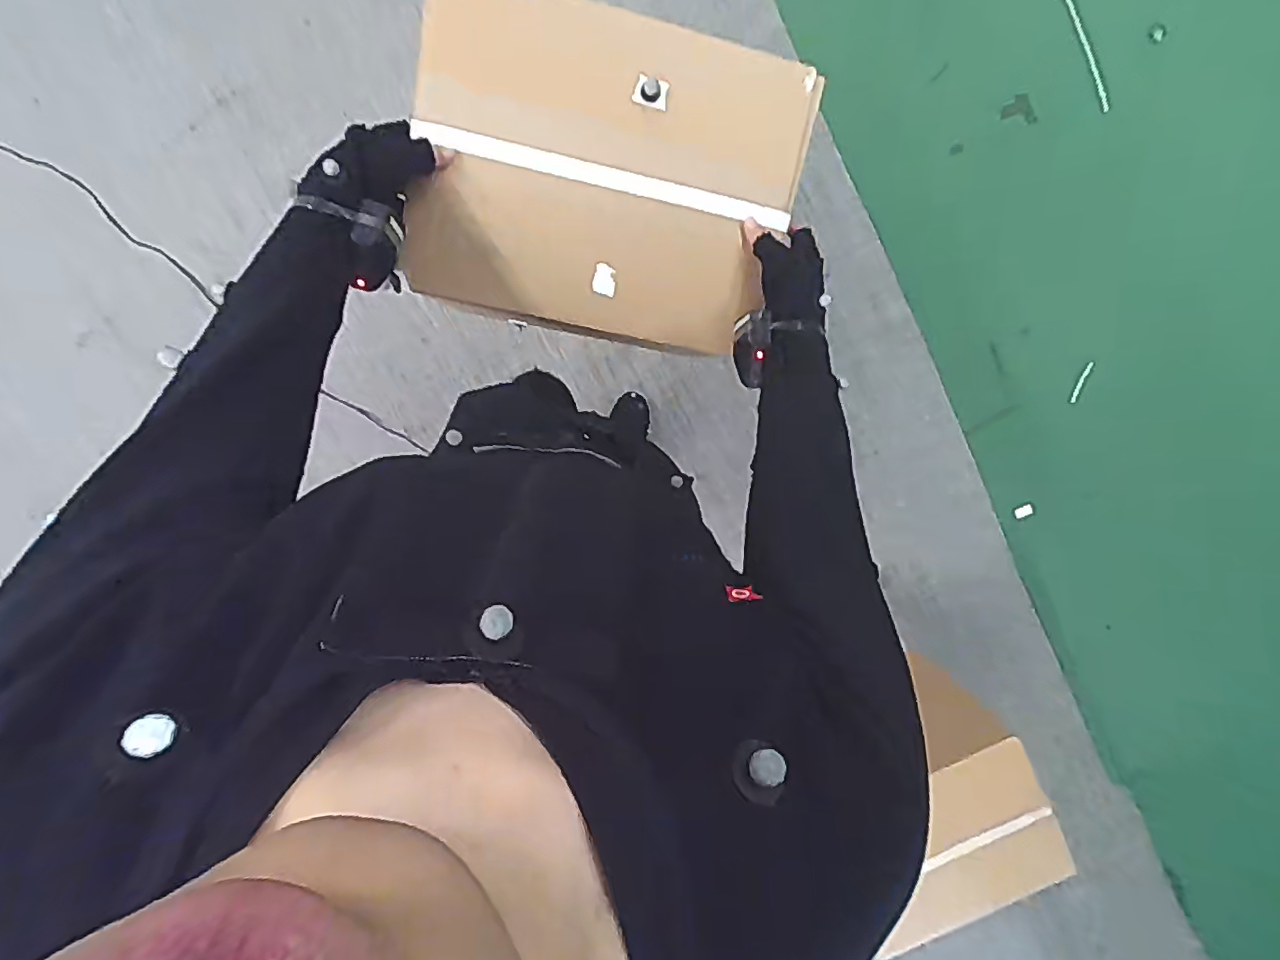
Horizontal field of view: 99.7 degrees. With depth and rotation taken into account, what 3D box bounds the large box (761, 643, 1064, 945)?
[{"bbox_3d":[0.521,0.609,1.103,0.408,0.320,0.320,-27,101,3],"label":"large box"}]
